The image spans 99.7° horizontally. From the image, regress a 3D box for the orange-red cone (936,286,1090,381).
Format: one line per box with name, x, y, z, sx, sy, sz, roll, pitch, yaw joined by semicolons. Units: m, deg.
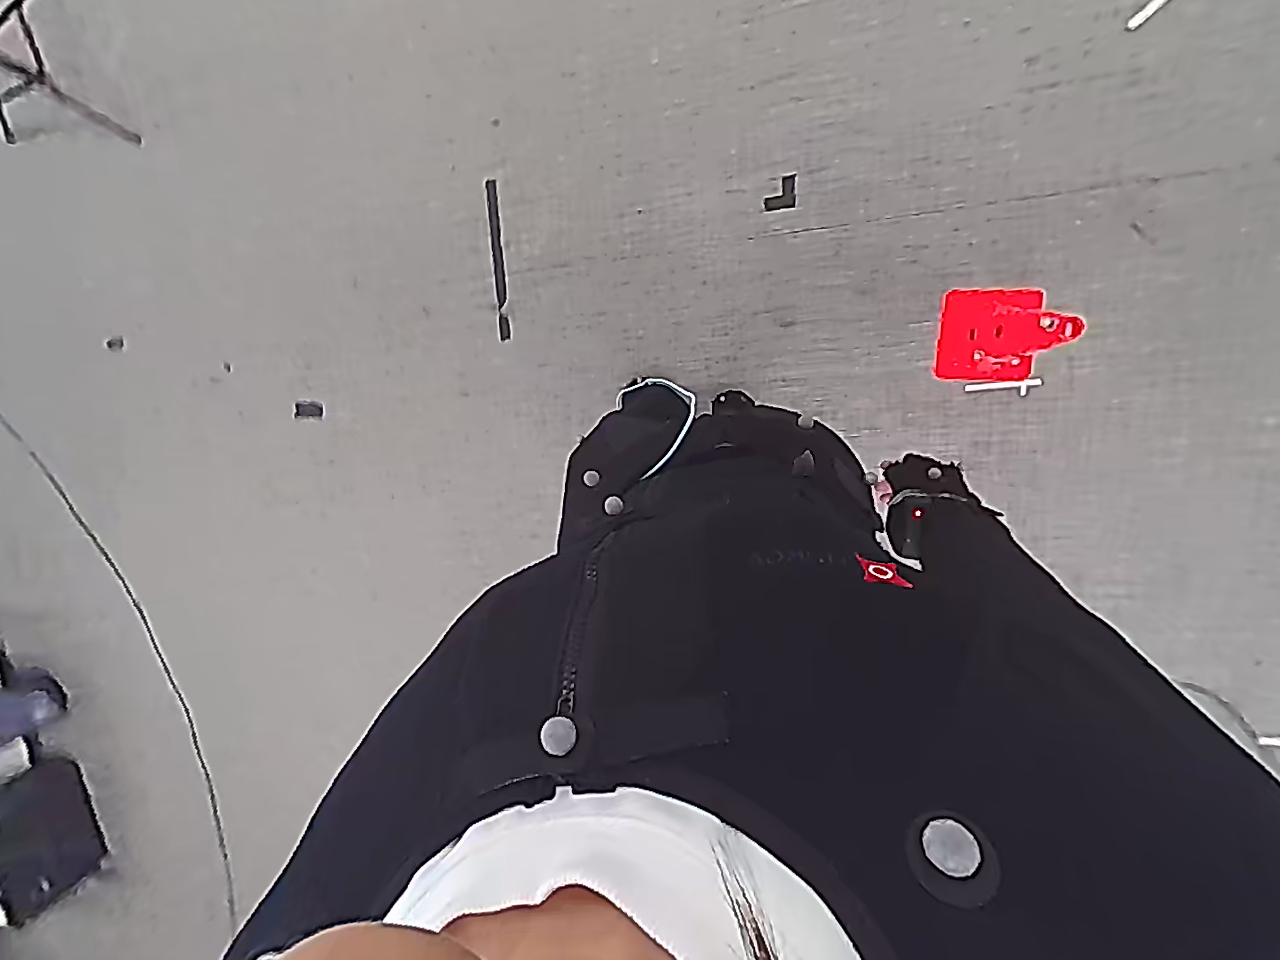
orange-red cone;0.737;-0.291;1.035;0.198;0.360;0.199;5;102;12
